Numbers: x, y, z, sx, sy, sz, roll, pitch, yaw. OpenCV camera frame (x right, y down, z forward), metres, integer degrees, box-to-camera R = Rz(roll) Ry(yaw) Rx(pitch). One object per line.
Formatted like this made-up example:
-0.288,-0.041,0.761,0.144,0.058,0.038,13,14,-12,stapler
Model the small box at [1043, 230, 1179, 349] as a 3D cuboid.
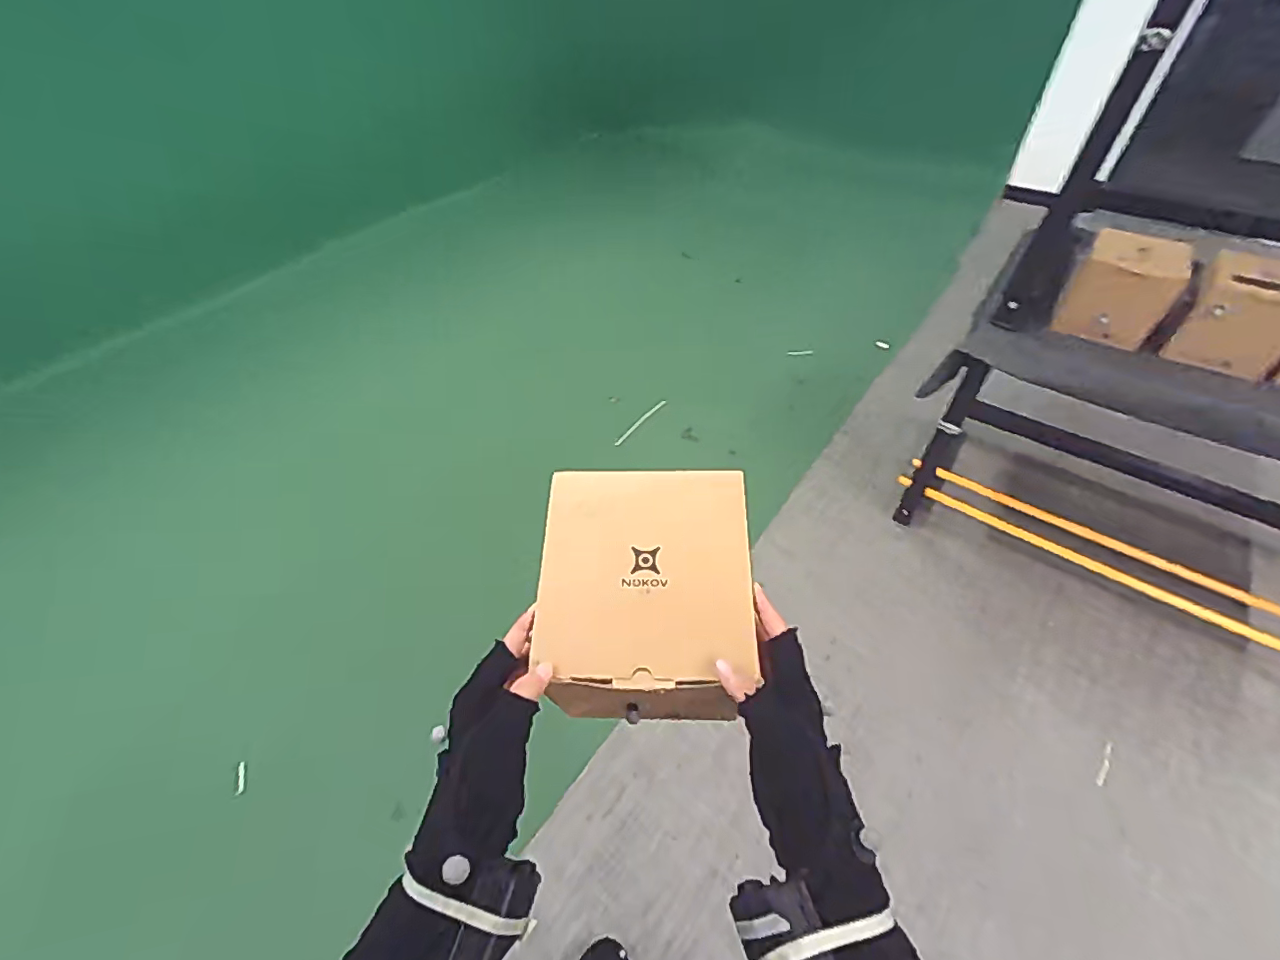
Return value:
1.030,-0.420,1.192,0.168,0.176,0.179,26,55,23,small box
